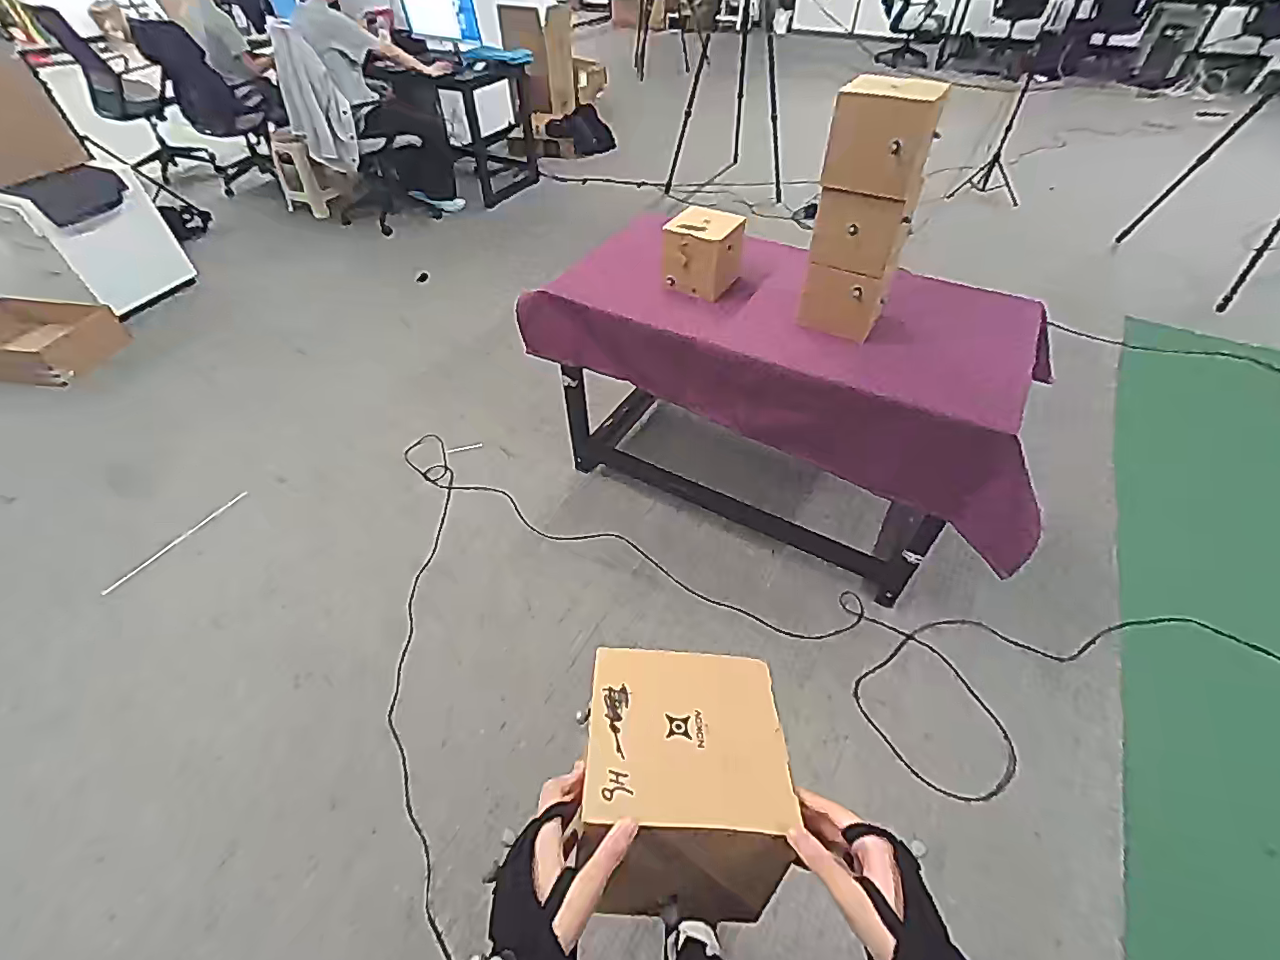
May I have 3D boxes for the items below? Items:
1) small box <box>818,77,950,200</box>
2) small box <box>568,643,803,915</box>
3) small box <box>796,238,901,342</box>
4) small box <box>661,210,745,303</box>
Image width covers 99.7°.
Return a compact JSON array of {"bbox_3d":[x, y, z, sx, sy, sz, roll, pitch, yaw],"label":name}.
[{"bbox_3d":[0.483,-0.683,1.085,0.179,0.176,0.168,24,51,22],"label":"small box"},{"bbox_3d":[0.032,0.286,0.520,0.179,0.176,0.168,7,32,-3],"label":"small box"},{"bbox_3d":[0.507,-0.463,1.328,0.179,0.176,0.168,24,52,22],"label":"small box"},{"bbox_3d":[0.170,-0.607,1.471,0.168,0.176,0.179,24,51,21],"label":"small box"}]
